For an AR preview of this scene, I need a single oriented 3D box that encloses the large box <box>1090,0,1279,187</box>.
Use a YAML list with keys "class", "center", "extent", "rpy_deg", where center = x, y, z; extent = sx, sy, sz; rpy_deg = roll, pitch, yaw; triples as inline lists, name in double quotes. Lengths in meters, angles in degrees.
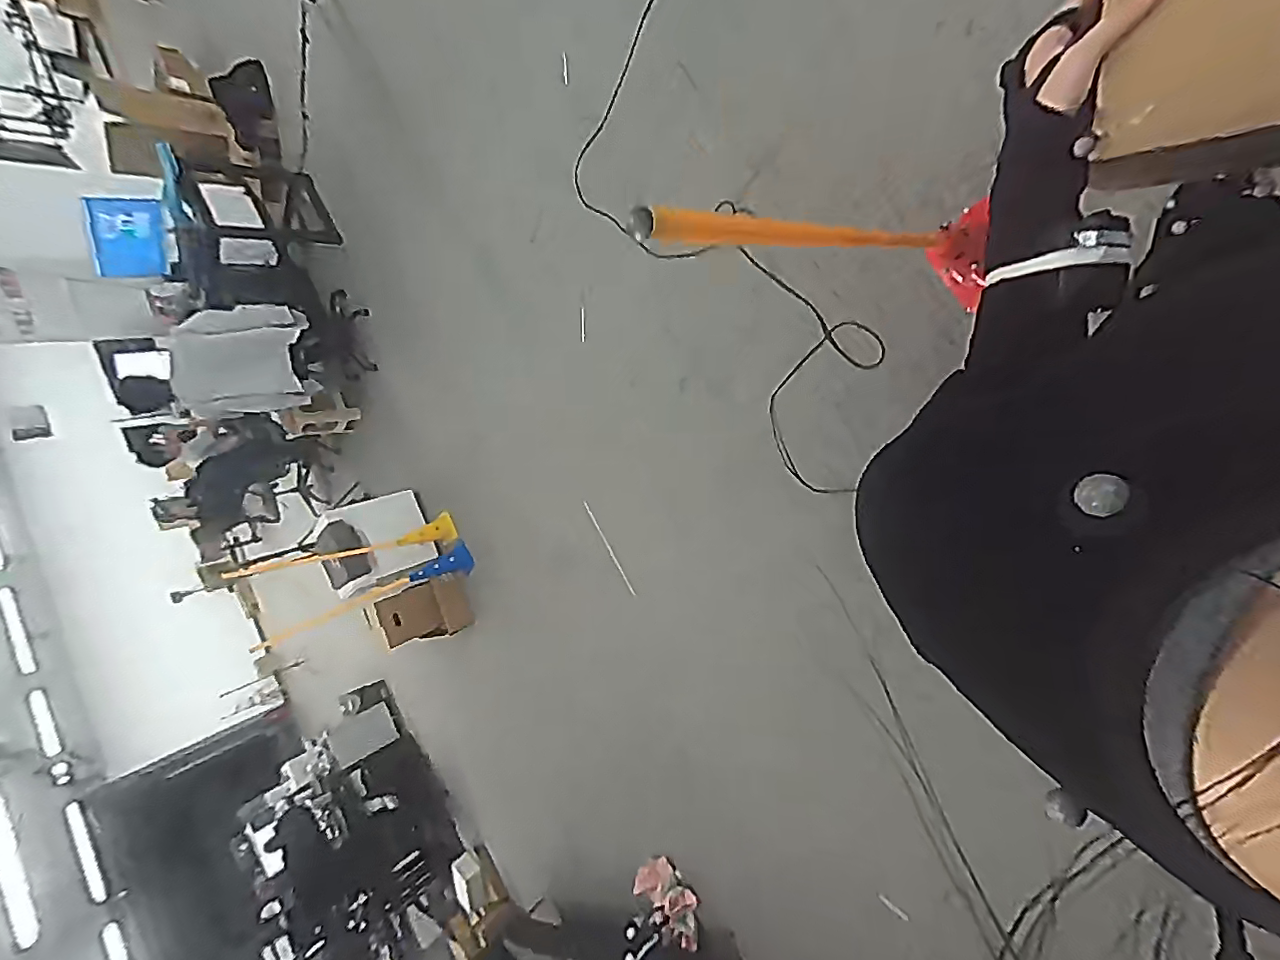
- class: "large box"
  center: [0.571, -0.412, 0.347]
  extent: [0.408, 0.320, 0.320]
  rpy_deg: [8, 112, 39]
